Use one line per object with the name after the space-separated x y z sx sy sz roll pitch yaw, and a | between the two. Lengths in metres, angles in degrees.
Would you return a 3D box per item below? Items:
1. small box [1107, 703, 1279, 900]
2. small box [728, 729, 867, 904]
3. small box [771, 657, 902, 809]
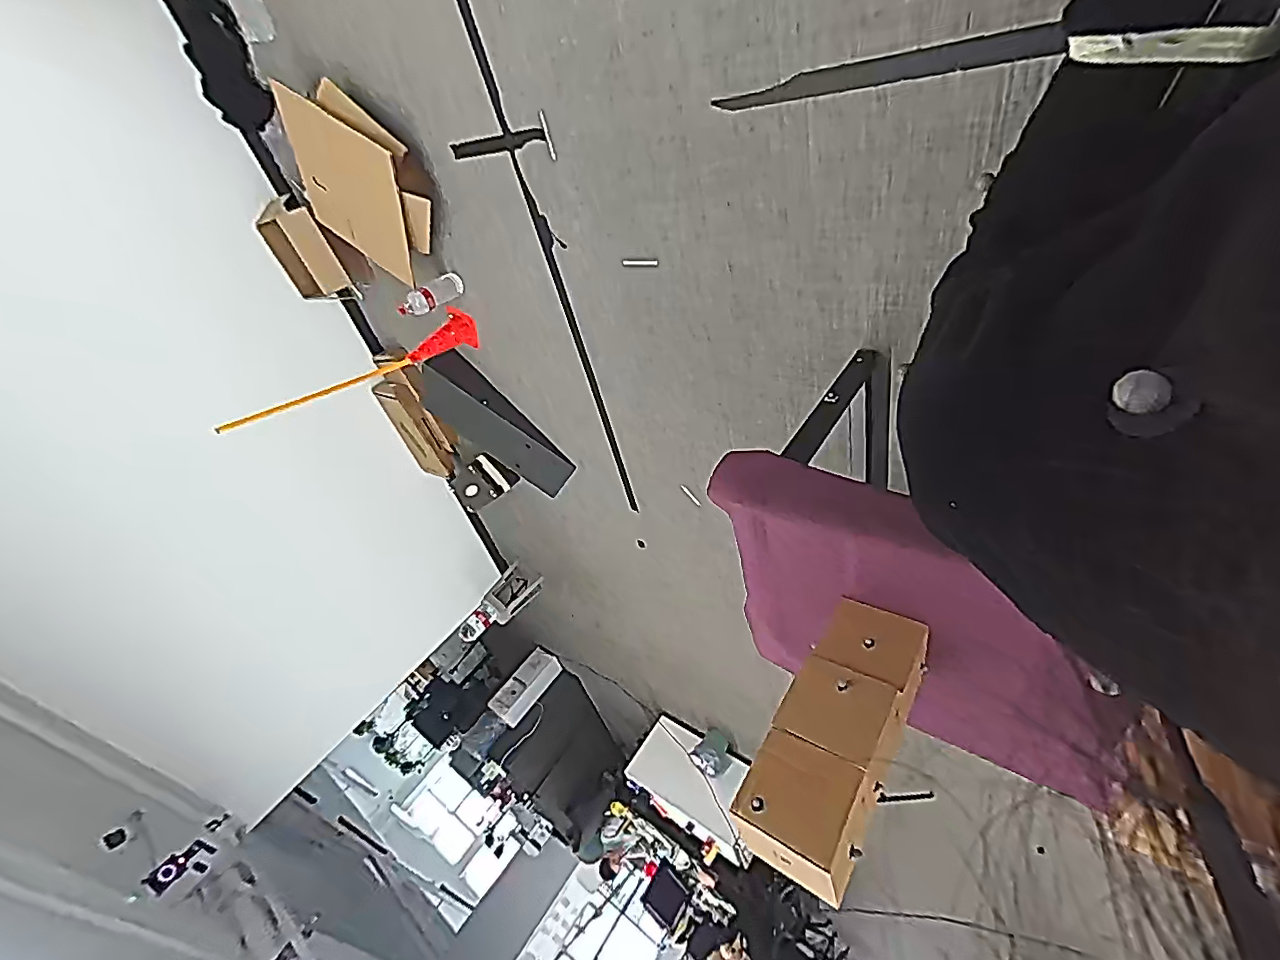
0.847 0.478 0.822 0.168 0.176 0.179 17 139 36 | small box
0.280 0.569 0.933 0.179 0.176 0.168 12 136 39 | small box
0.372 0.463 1.017 0.179 0.176 0.168 12 137 39 | small box
